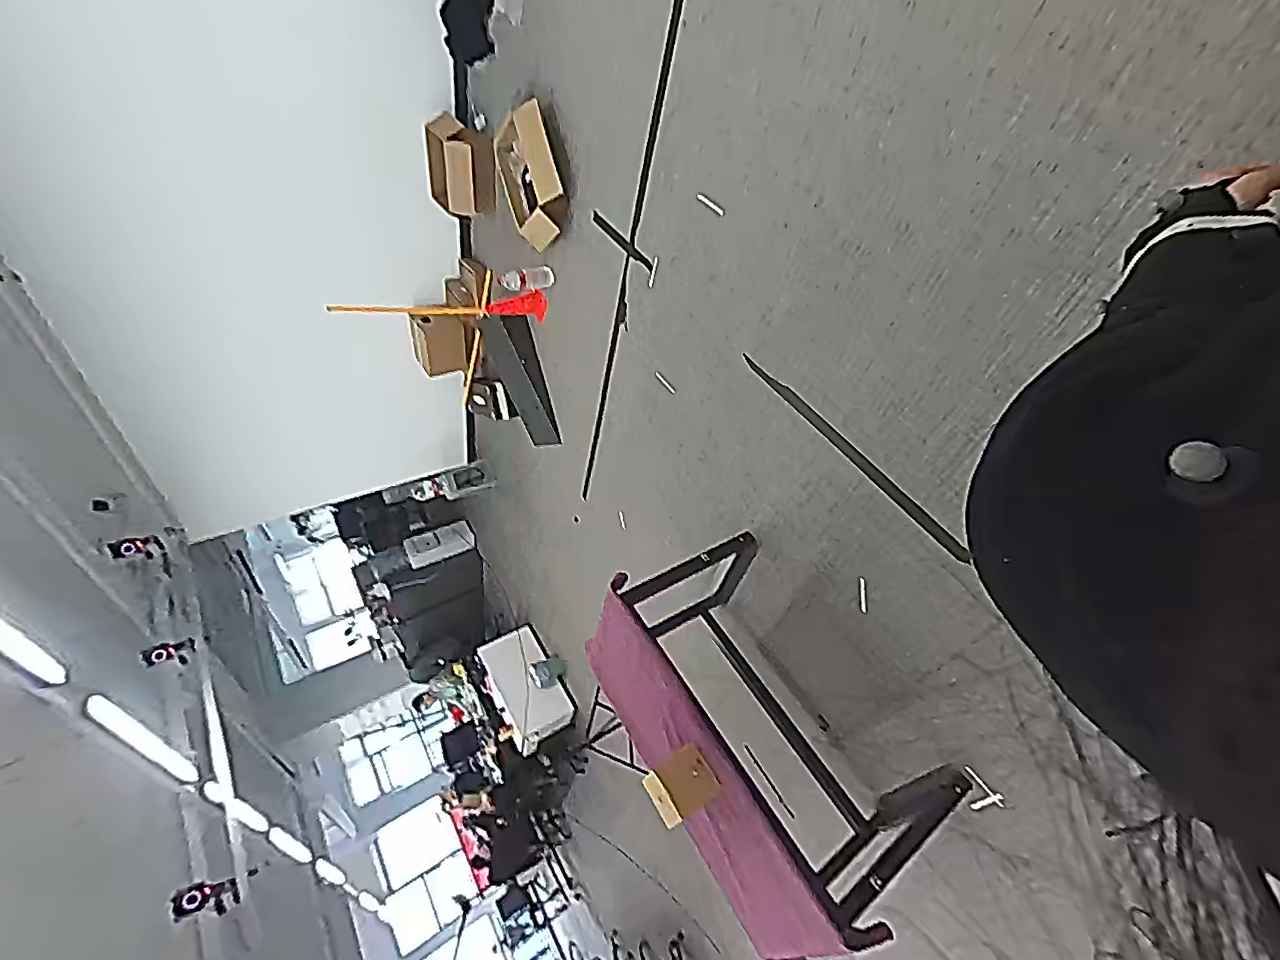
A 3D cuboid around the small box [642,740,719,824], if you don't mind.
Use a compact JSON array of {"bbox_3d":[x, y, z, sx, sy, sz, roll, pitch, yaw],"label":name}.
[{"bbox_3d":[0.135,0.990,1.777,0.168,0.176,0.179,52,146,26],"label":"small box"}]
